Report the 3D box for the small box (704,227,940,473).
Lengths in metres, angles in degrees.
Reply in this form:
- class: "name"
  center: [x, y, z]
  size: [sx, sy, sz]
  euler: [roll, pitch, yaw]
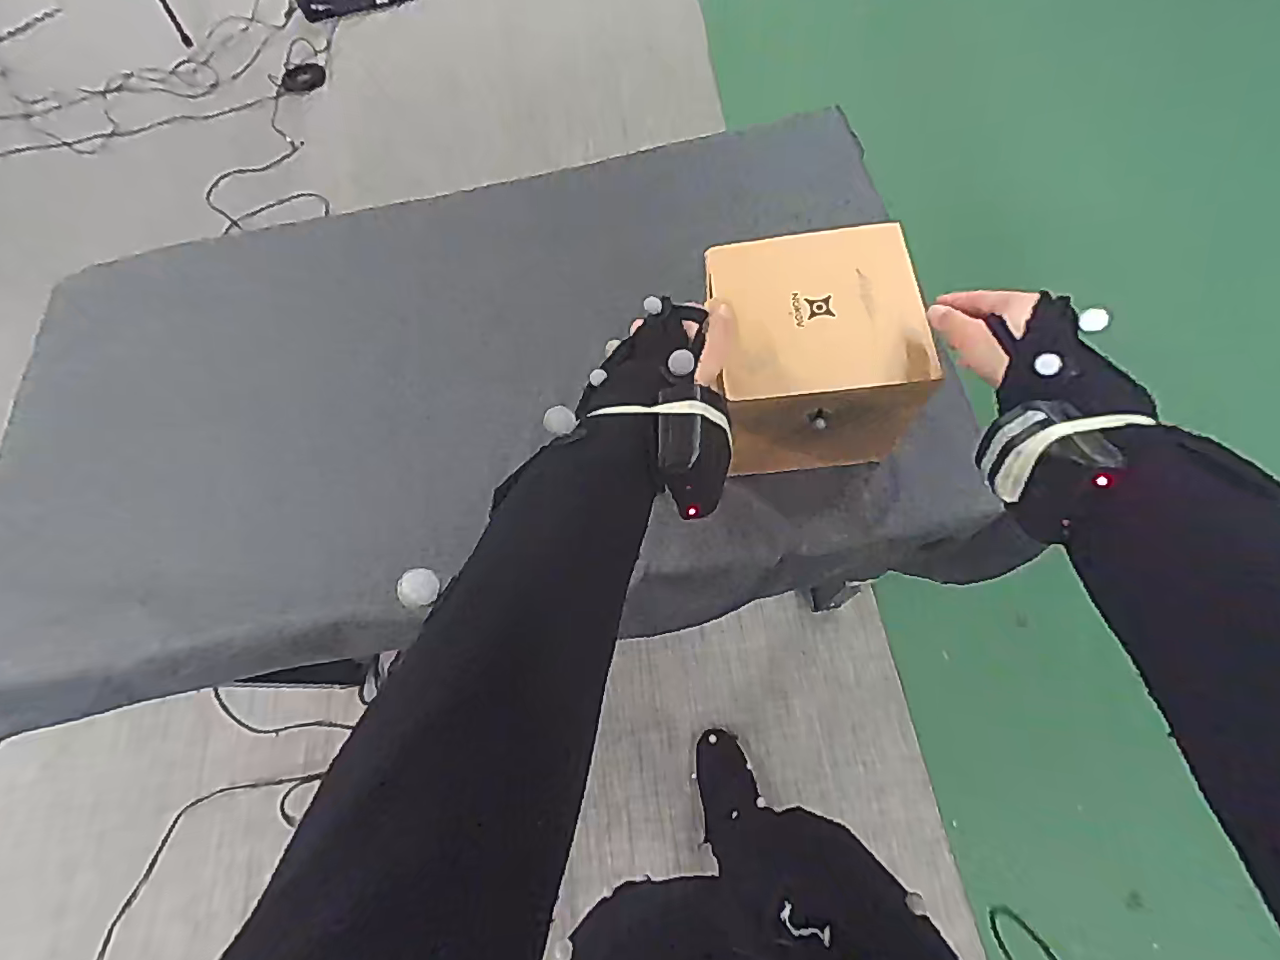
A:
- class: "small box"
  center: [0.159, -0.114, 0.536]
  size: [0.179, 0.176, 0.168]
  euler: [-5, 69, 5]
